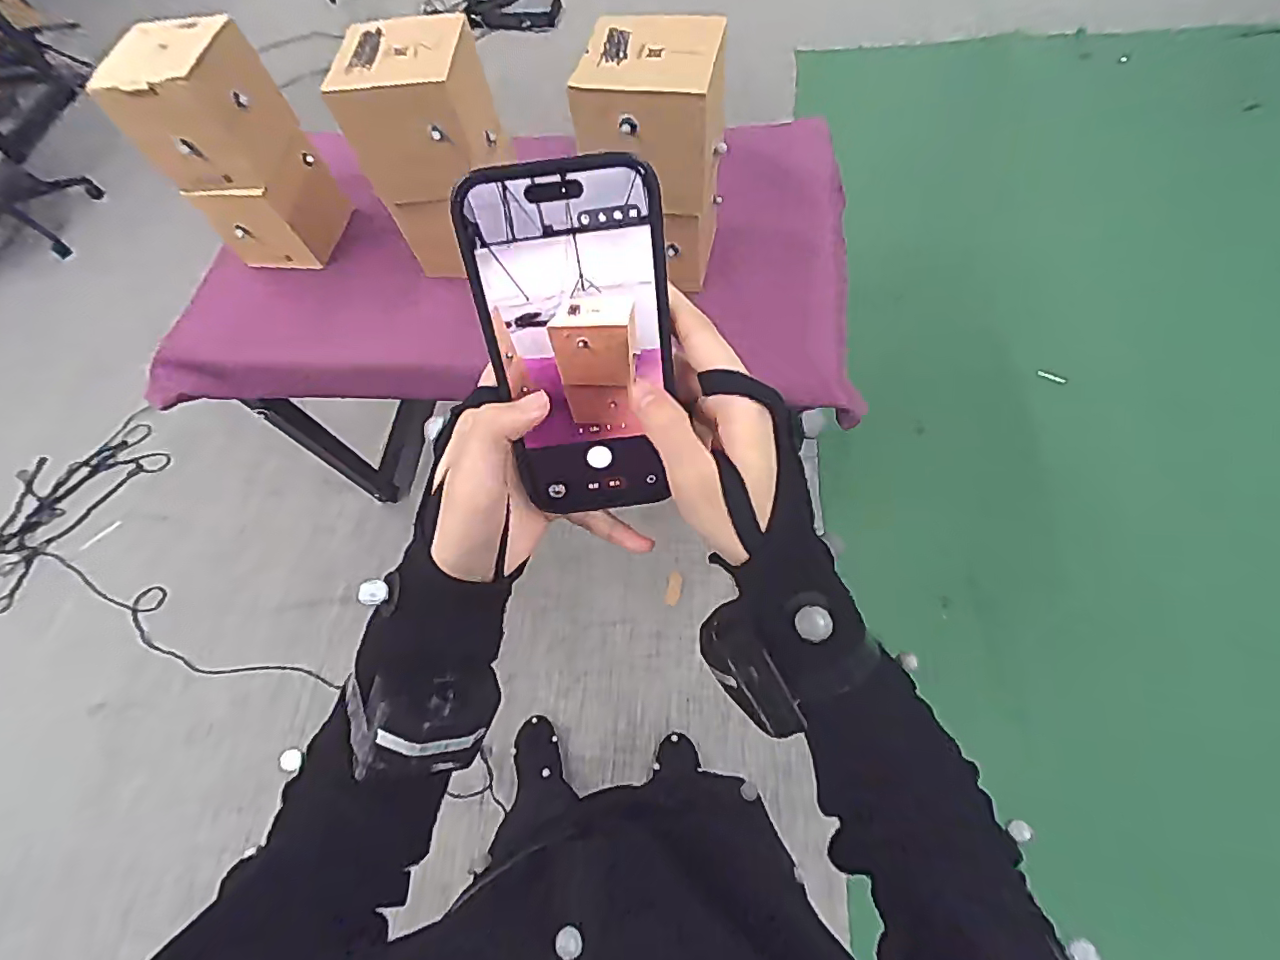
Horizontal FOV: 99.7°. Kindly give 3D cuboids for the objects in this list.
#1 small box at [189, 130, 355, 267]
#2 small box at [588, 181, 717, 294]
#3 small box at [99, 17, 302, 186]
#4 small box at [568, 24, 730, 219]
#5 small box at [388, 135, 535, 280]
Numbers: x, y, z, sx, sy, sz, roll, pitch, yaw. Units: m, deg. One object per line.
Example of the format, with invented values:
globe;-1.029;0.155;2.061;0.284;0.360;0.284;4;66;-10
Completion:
small box;-0.684;-0.530;1.032;0.168;0.176;0.179;6;65;9
small box;0.031;-0.436;0.907;0.179;0.176;0.168;11;66;12
small box;-0.699;-0.608;0.888;0.168;0.176;0.179;1;65;6
small box;0.021;-0.492;0.753;0.179;0.176;0.168;11;66;11
small box;-0.302;-0.478;0.963;0.179;0.176;0.168;5;65;9
